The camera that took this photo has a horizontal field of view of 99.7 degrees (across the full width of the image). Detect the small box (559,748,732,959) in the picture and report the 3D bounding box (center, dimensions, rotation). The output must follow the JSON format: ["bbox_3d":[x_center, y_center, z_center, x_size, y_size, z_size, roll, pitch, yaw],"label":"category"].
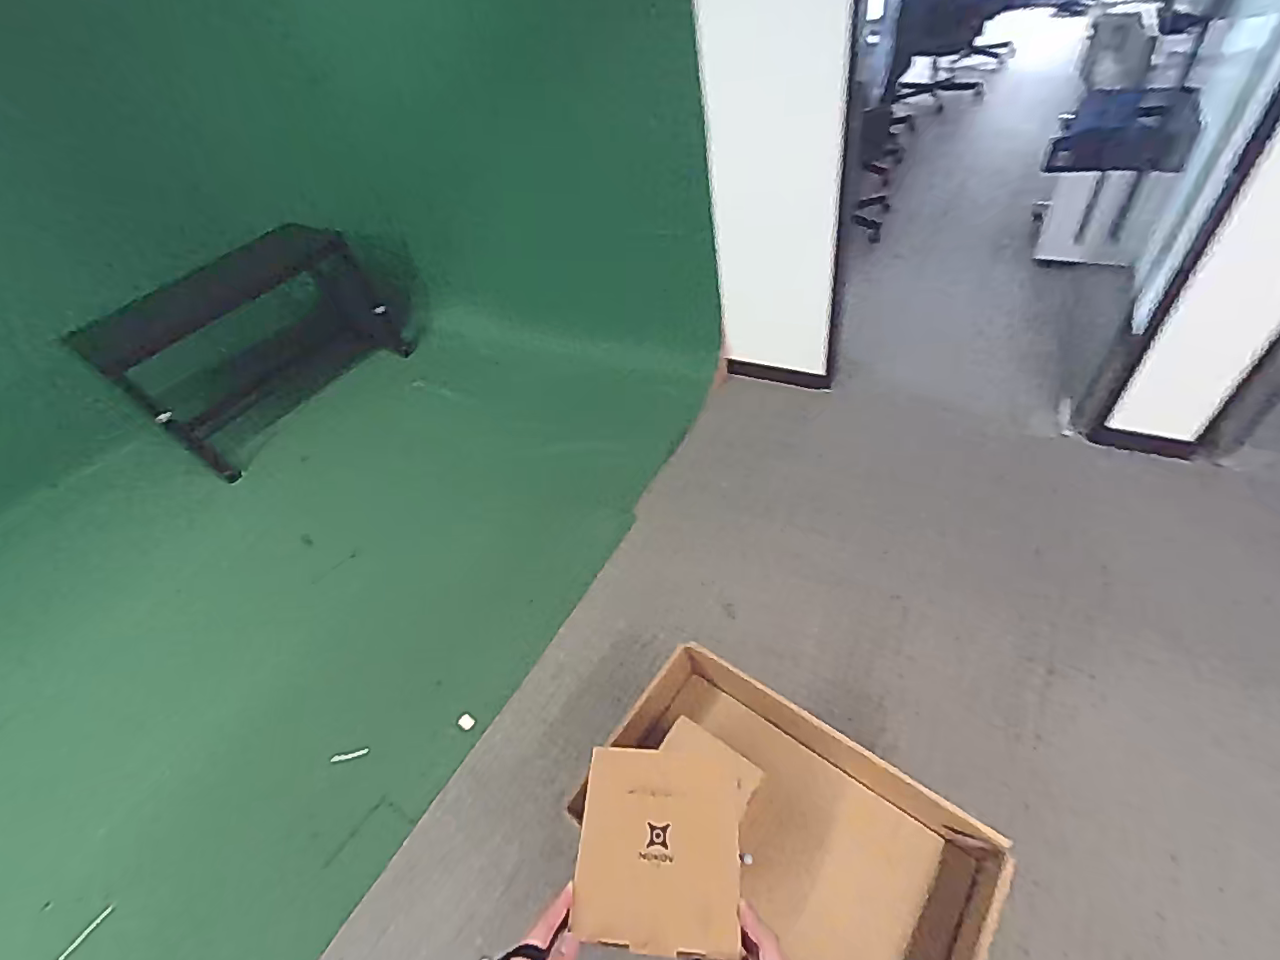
[{"bbox_3d":[0.020,0.429,0.621,0.168,0.176,0.179,-1,48,9],"label":"small box"}]
